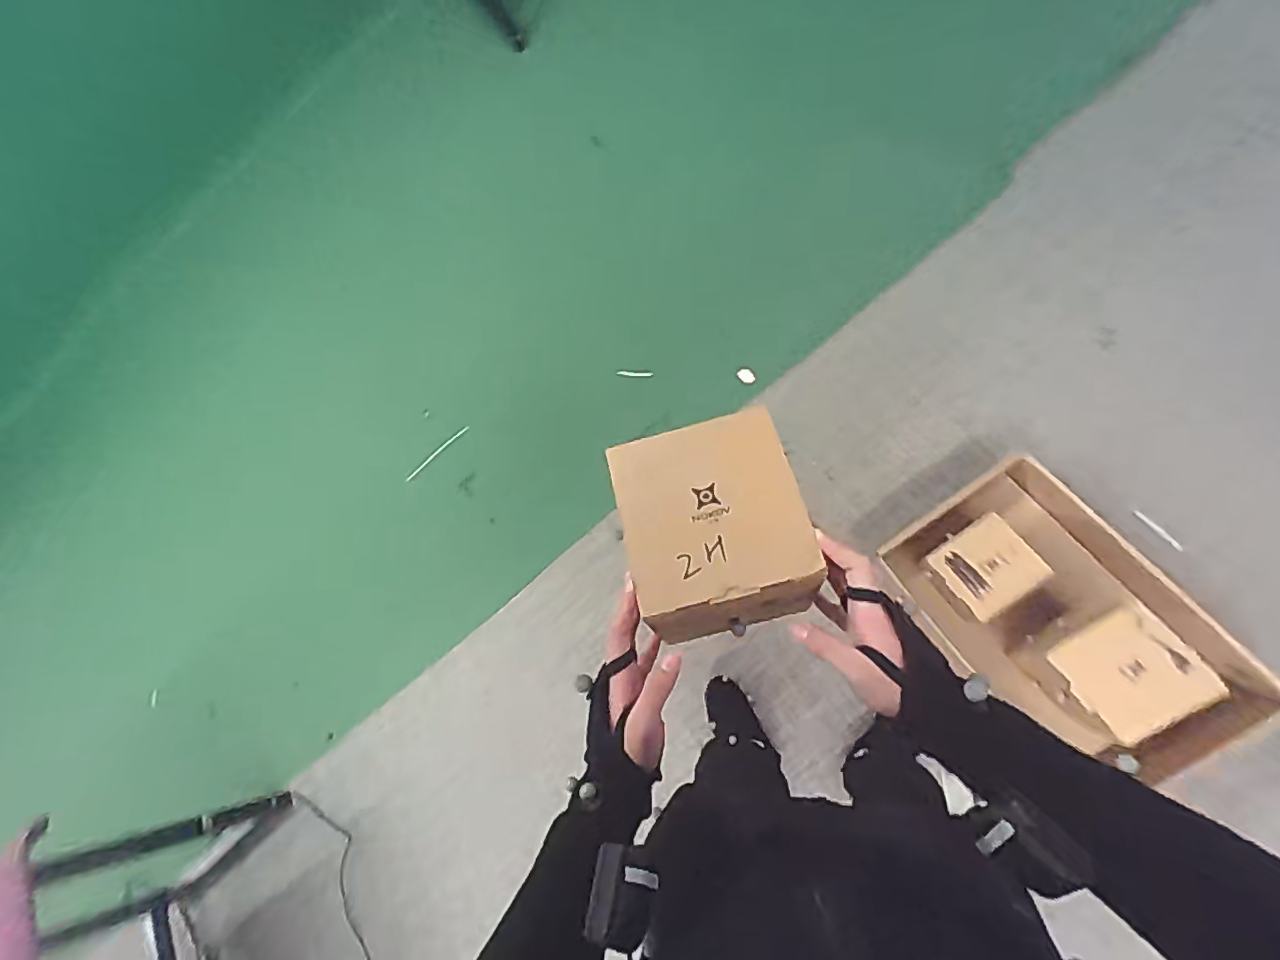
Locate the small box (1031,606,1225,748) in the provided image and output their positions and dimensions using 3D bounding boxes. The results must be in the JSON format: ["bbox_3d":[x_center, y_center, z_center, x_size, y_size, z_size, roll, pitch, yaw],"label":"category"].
[{"bbox_3d":[0.833,0.342,0.954,0.179,0.176,0.168,-36,64,11],"label":"small box"}]

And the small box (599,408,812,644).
[{"bbox_3d":[0.066,0.057,0.570,0.168,0.176,0.179,-16,63,5],"label":"small box"}]
